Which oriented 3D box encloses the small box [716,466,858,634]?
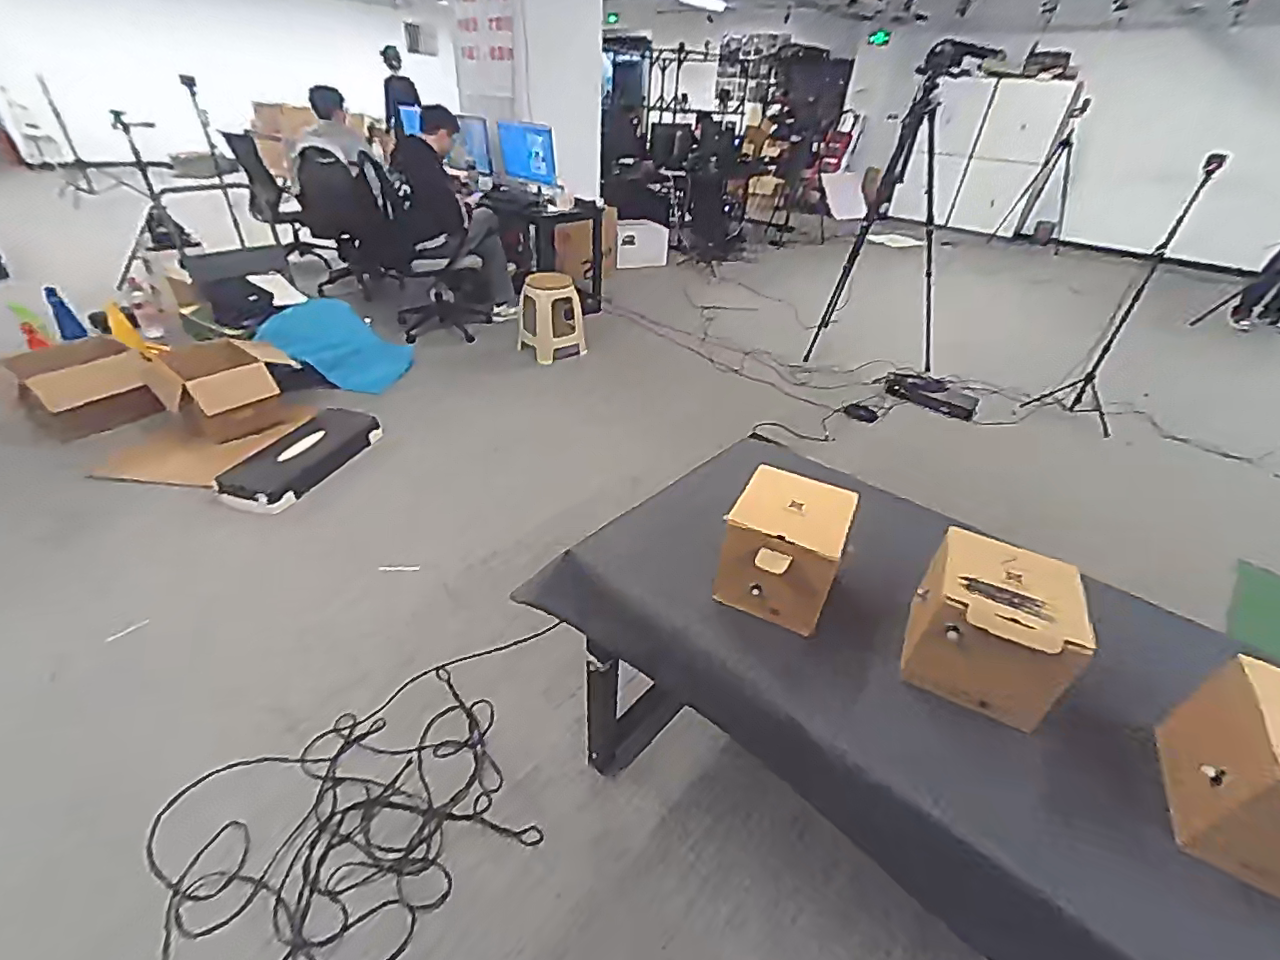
[{"bbox_3d":[0.233,0.109,0.871,0.168,0.176,0.179,19,38,20],"label":"small box"}]

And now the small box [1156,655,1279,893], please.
[{"bbox_3d":[0.723,0.338,0.591,0.168,0.176,0.179,23,38,23],"label":"small box"}]
